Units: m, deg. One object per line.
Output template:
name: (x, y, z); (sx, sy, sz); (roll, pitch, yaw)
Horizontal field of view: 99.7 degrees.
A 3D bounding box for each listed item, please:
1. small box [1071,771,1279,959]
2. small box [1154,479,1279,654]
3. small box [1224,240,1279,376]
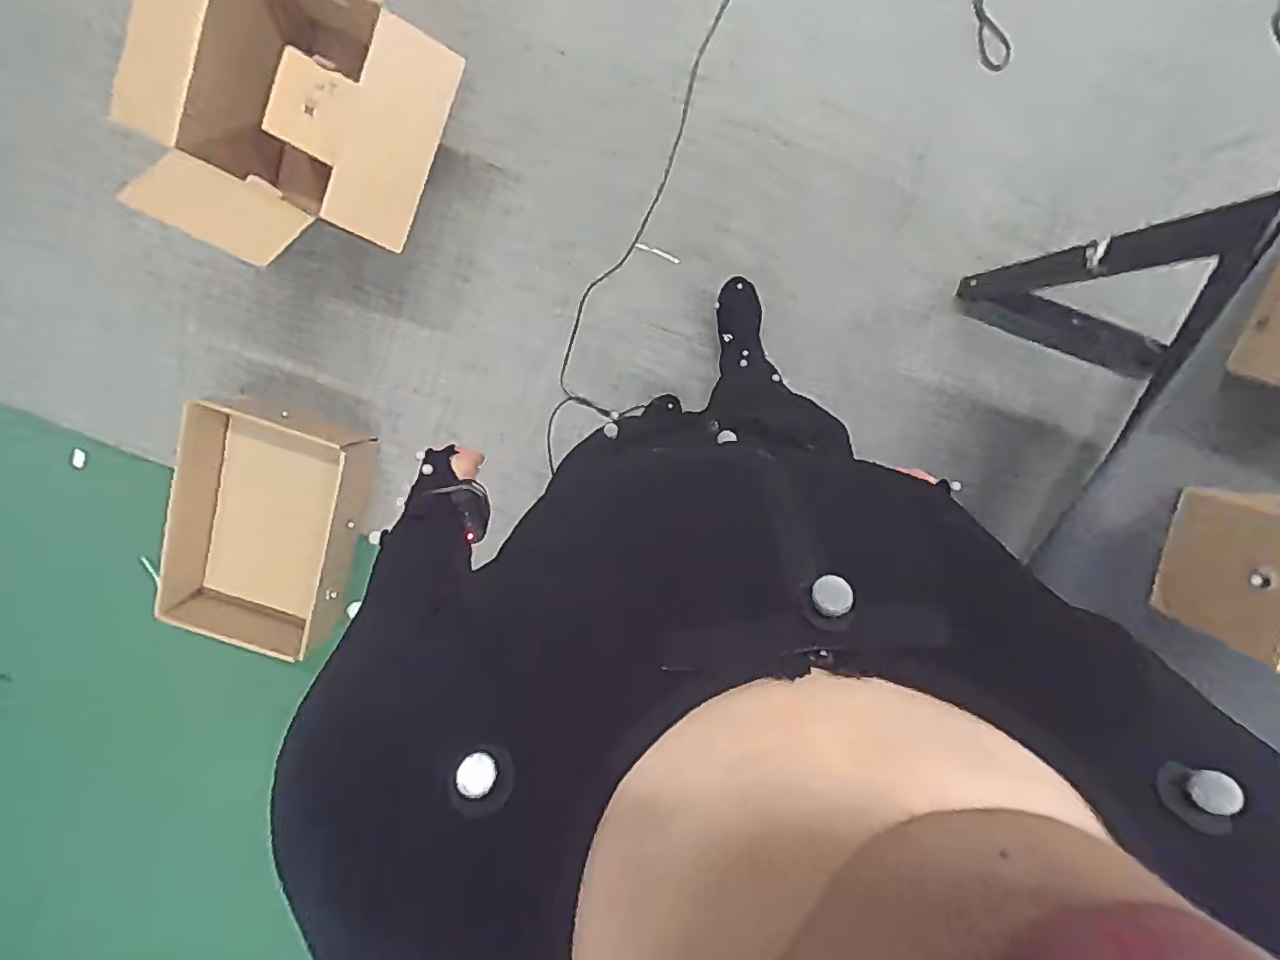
small box: (0.624, 0.462, 0.582); (0.168, 0.176, 0.179); (19, 101, -3)
small box: (0.802, 0.101, 0.668); (0.168, 0.176, 0.179); (4, 103, 1)
small box: (0.845, -0.192, 0.601); (0.179, 0.176, 0.168); (15, 103, -2)
